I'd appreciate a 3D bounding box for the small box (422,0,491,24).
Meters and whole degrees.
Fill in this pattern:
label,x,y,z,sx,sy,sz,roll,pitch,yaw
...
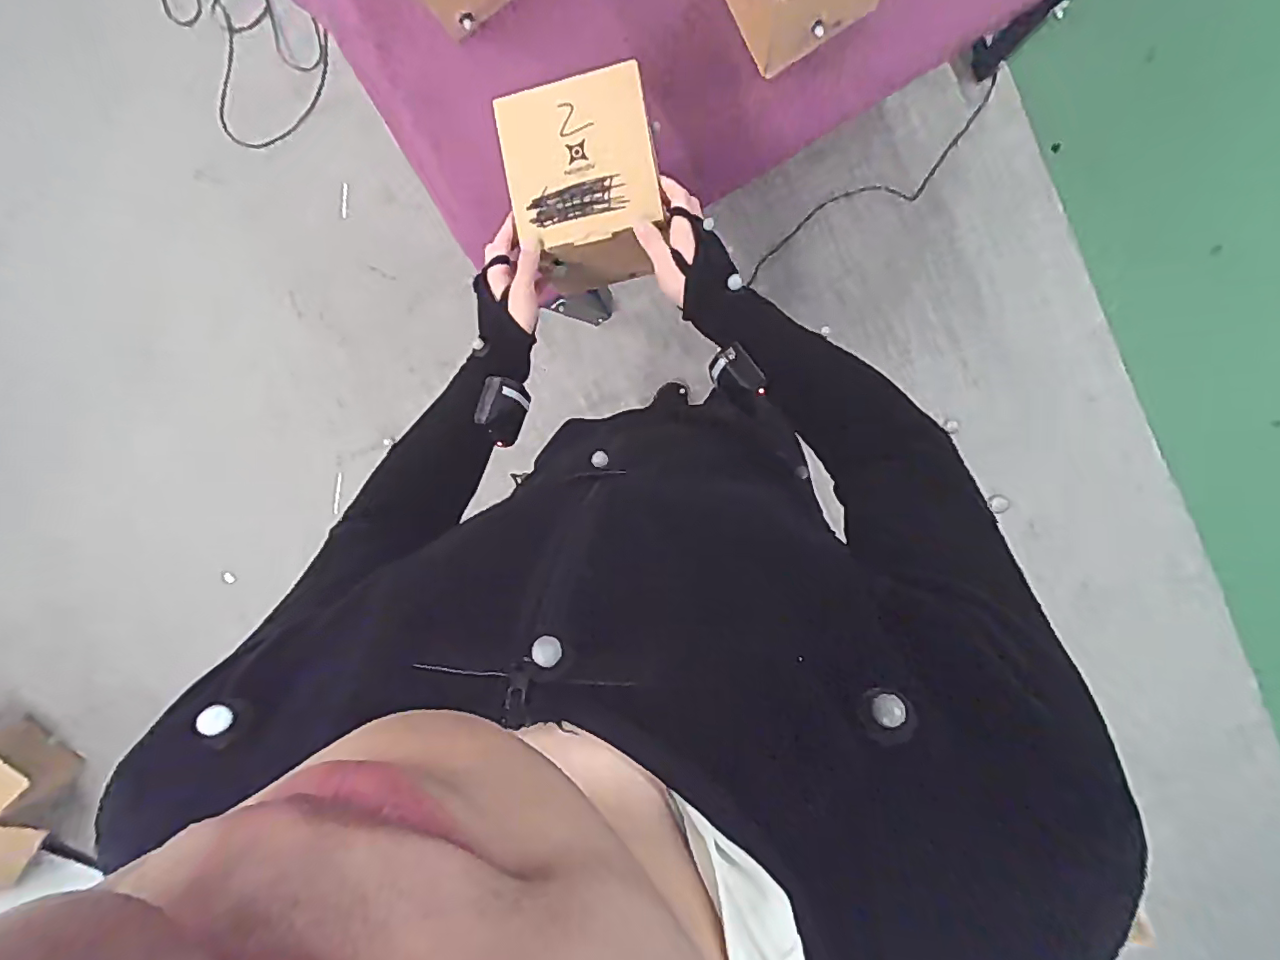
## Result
label,x,y,z,sx,sy,sz,roll,pitch,yaw
small box,-0.254,-0.733,0.681,0.168,0.176,0.179,-29,98,11
